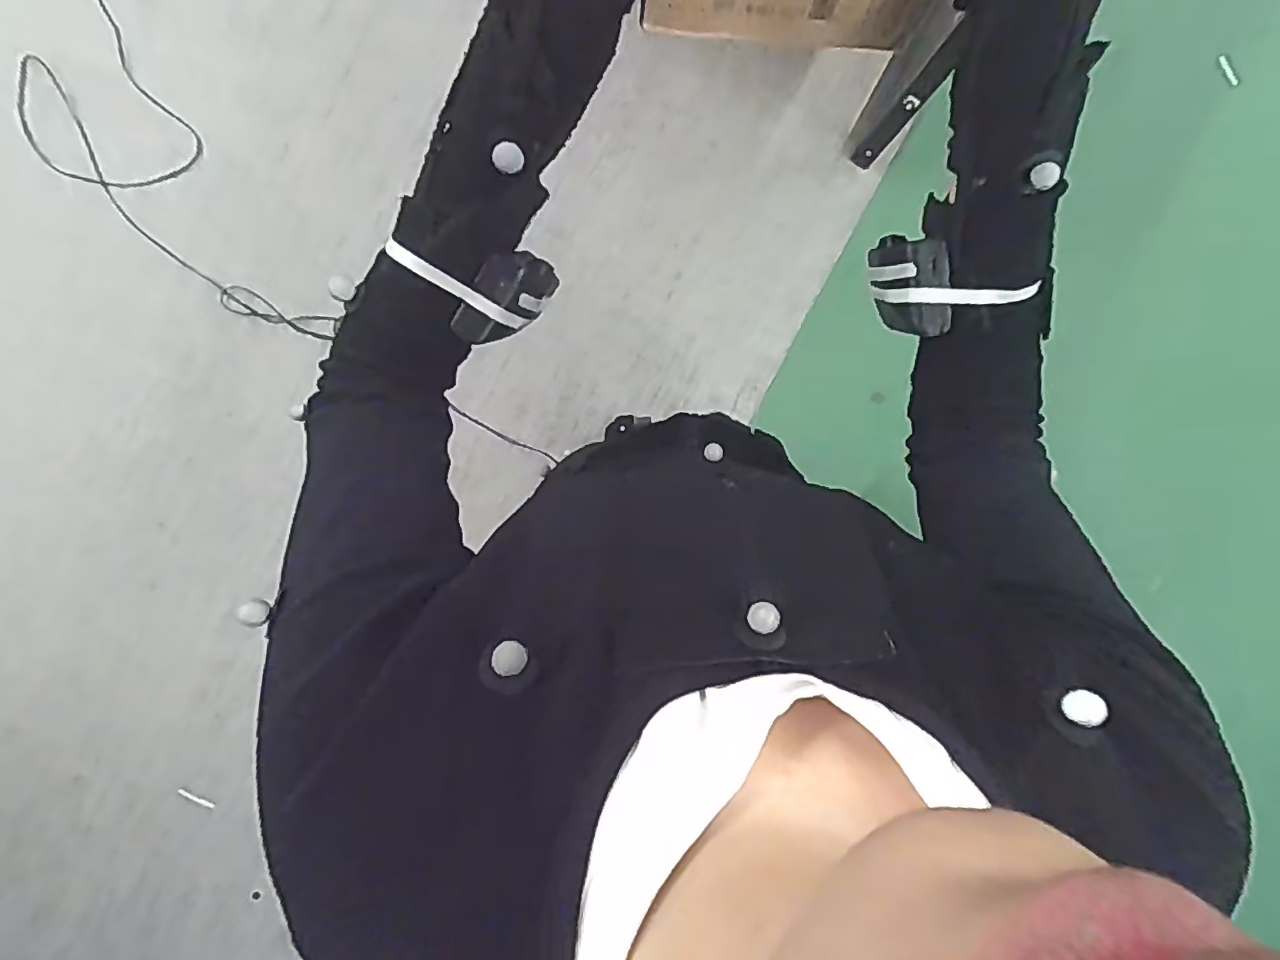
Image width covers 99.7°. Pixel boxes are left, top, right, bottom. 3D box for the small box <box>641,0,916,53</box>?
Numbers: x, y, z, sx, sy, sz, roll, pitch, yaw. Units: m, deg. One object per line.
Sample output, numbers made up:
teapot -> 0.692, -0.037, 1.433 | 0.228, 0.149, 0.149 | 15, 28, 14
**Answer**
small box -> 0.084, -0.365, 0.265 | 0.168, 0.176, 0.179 | 1, 84, -4
